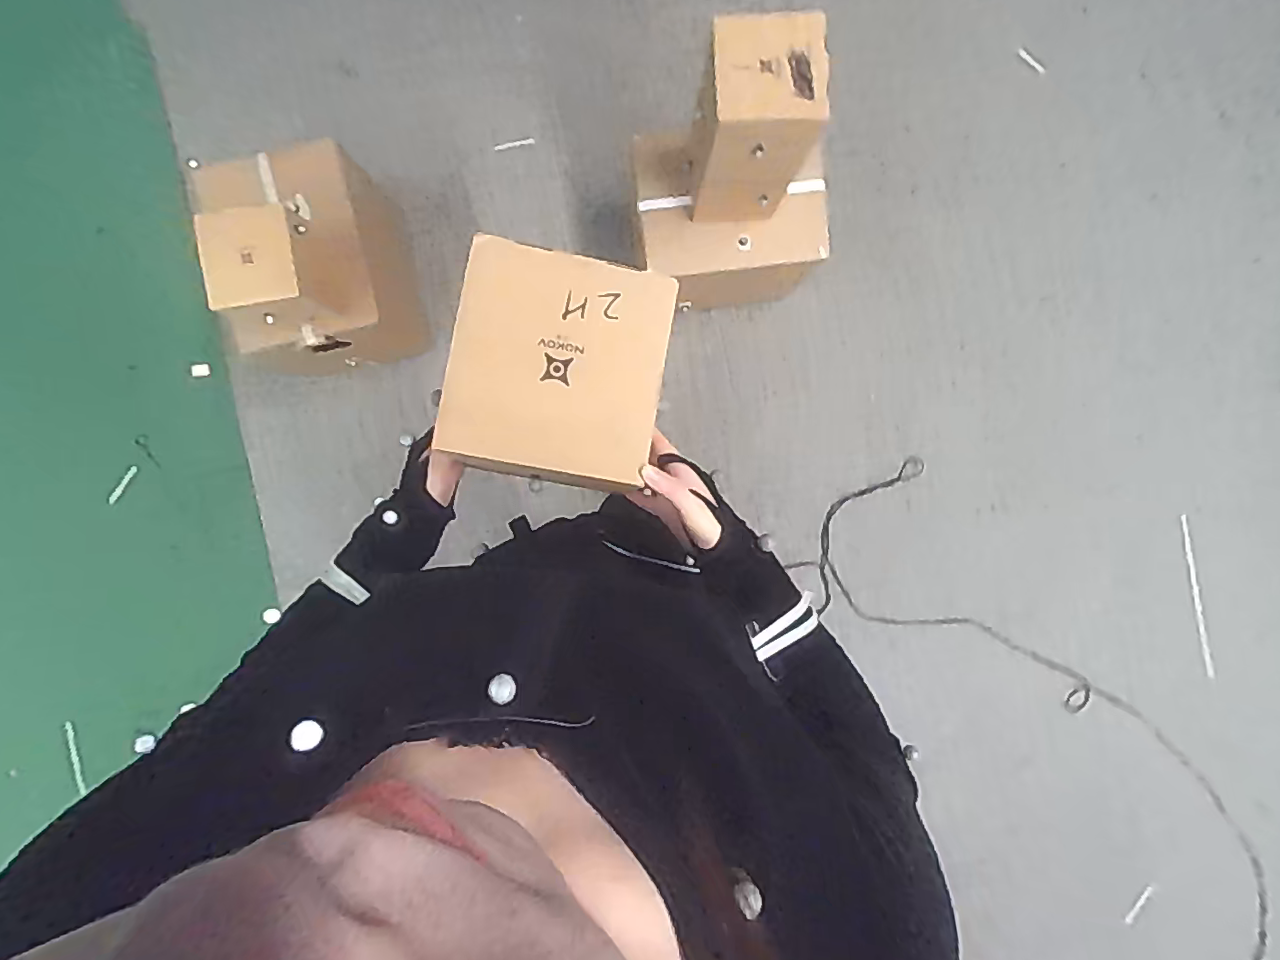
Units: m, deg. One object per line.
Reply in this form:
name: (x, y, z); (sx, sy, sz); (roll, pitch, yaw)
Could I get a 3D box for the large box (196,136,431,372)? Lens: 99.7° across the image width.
large box: (-0.750, -0.510, 1.301); (0.320, 0.320, 0.408); (-12, 92, -1)

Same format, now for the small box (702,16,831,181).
small box: (0.204, -0.627, 0.908); (0.179, 0.176, 0.168); (-2, 90, -1)

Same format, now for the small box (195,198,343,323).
small box: (-0.713, -0.417, 1.060); (0.168, 0.176, 0.179); (-9, 92, -2)

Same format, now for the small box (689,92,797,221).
small box: (0.197, -0.633, 1.073); (0.179, 0.176, 0.168); (-3, 90, -1)

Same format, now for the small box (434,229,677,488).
small box: (-0.075, -0.092, 0.505); (0.168, 0.176, 0.179); (11, 84, -8)
